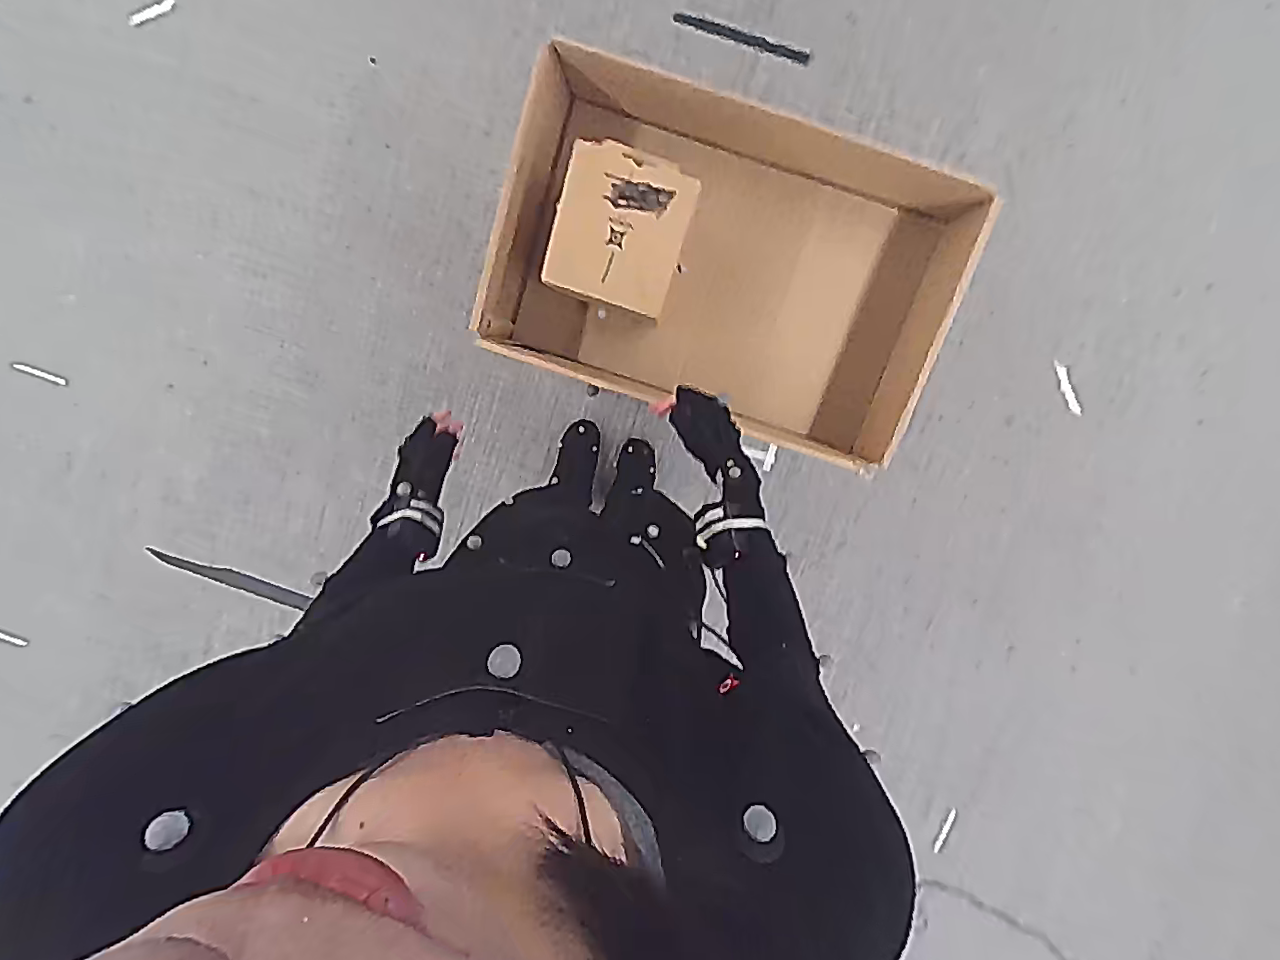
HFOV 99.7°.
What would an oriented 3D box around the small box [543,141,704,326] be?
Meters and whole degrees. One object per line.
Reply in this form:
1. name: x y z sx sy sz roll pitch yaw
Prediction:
1. small box: -0.021 -0.331 0.766 0.168 0.176 0.179 18 103 -1
